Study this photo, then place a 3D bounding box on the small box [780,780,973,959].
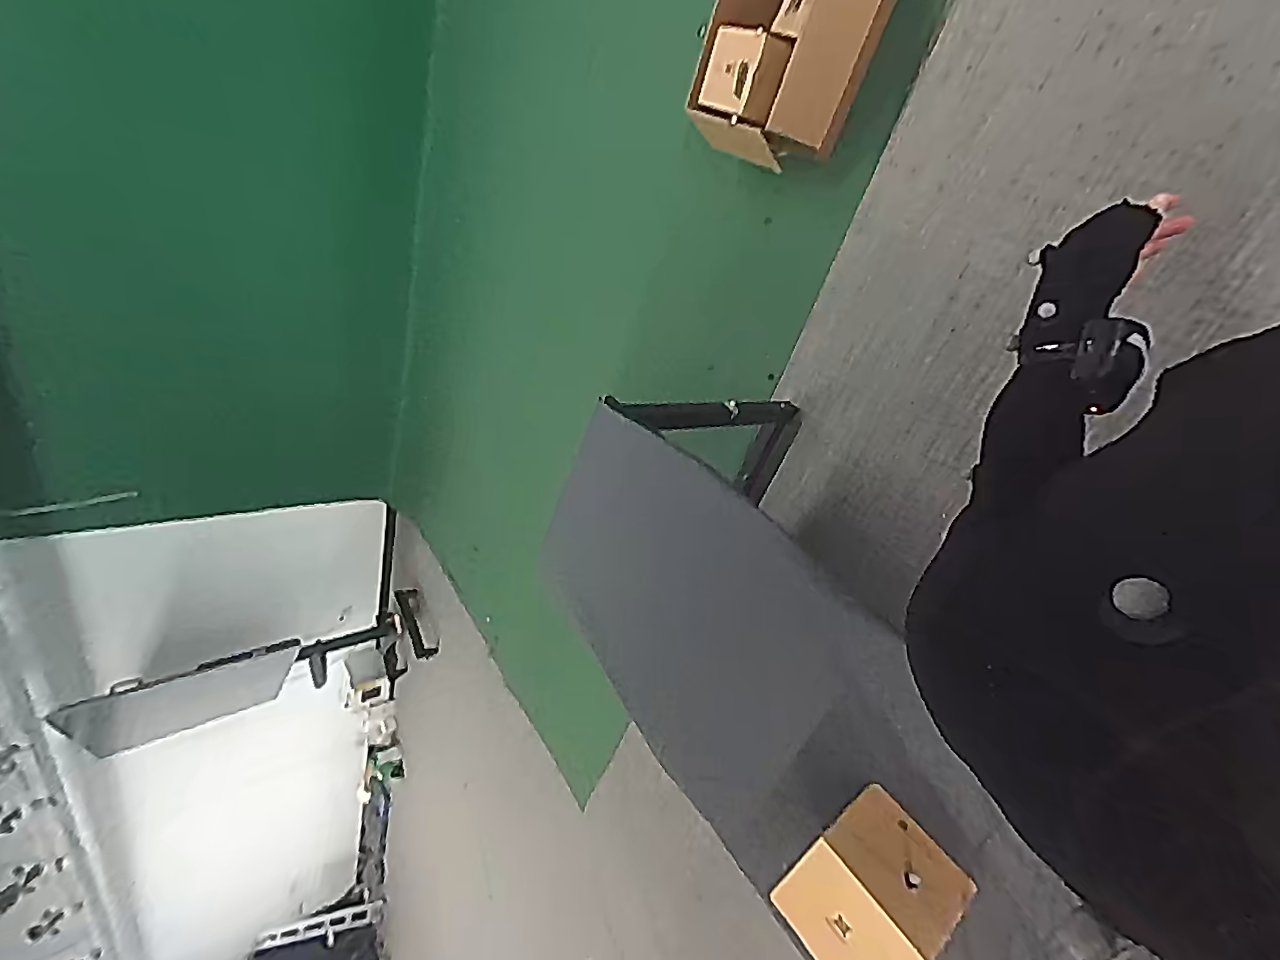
[{"bbox_3d":[0.343,0.579,0.779,0.168,0.176,0.179,42,127,37],"label":"small box"}]
